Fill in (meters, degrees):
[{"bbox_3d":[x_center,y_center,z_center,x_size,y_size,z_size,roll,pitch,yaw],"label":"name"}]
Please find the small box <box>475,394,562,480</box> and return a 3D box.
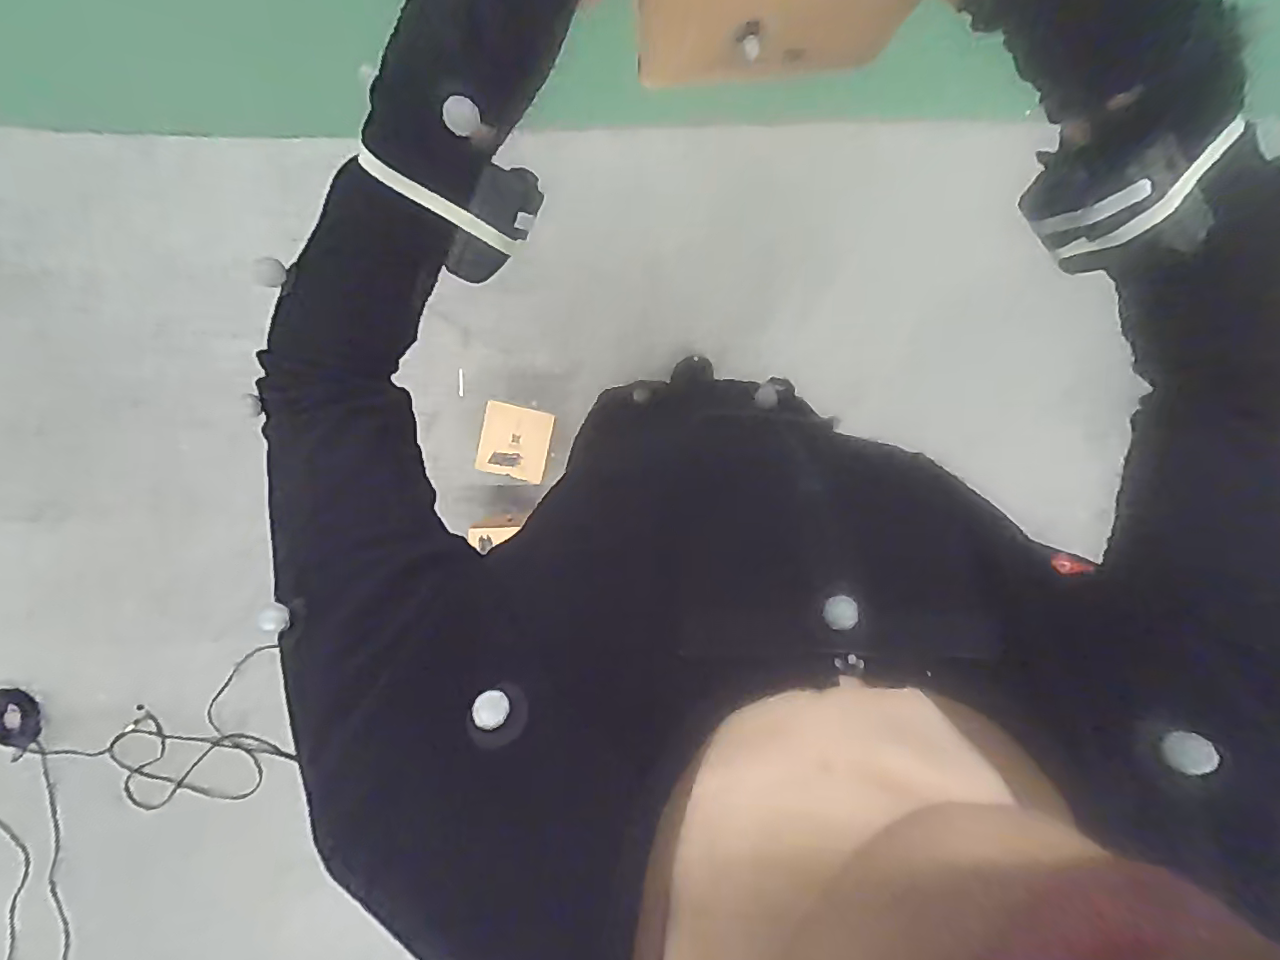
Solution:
[{"bbox_3d":[-0.300,-0.113,1.370,0.168,0.176,0.179,13,98,-2],"label":"small box"}]
